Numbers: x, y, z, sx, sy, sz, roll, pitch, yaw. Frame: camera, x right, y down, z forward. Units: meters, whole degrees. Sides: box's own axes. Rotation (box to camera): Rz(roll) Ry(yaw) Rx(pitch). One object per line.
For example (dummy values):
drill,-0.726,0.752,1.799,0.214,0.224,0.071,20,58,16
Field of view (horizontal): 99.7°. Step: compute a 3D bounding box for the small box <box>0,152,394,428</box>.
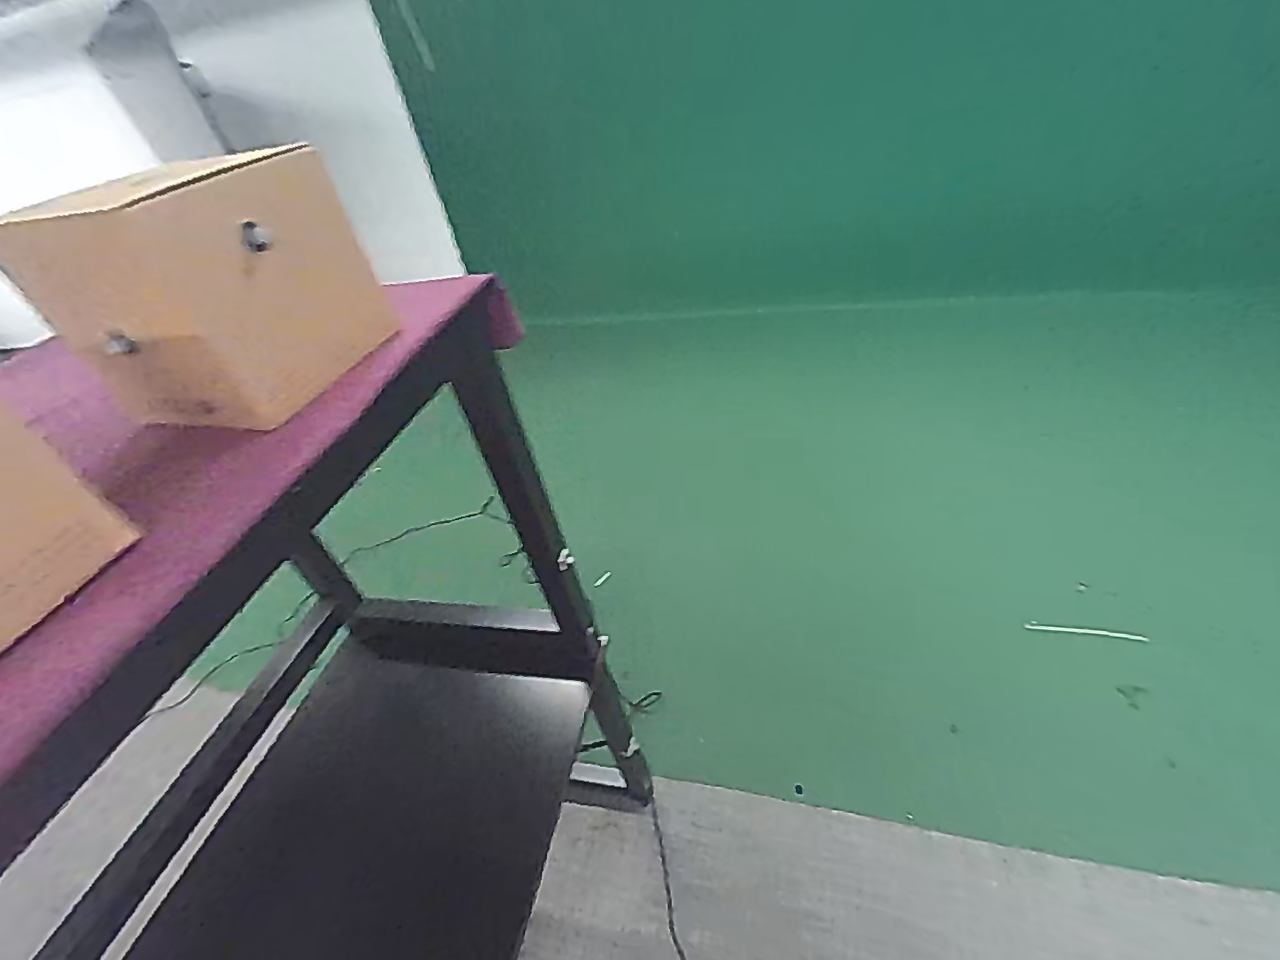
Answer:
small box,-0.352,-0.159,0.466,0.168,0.176,0.179,4,42,18
